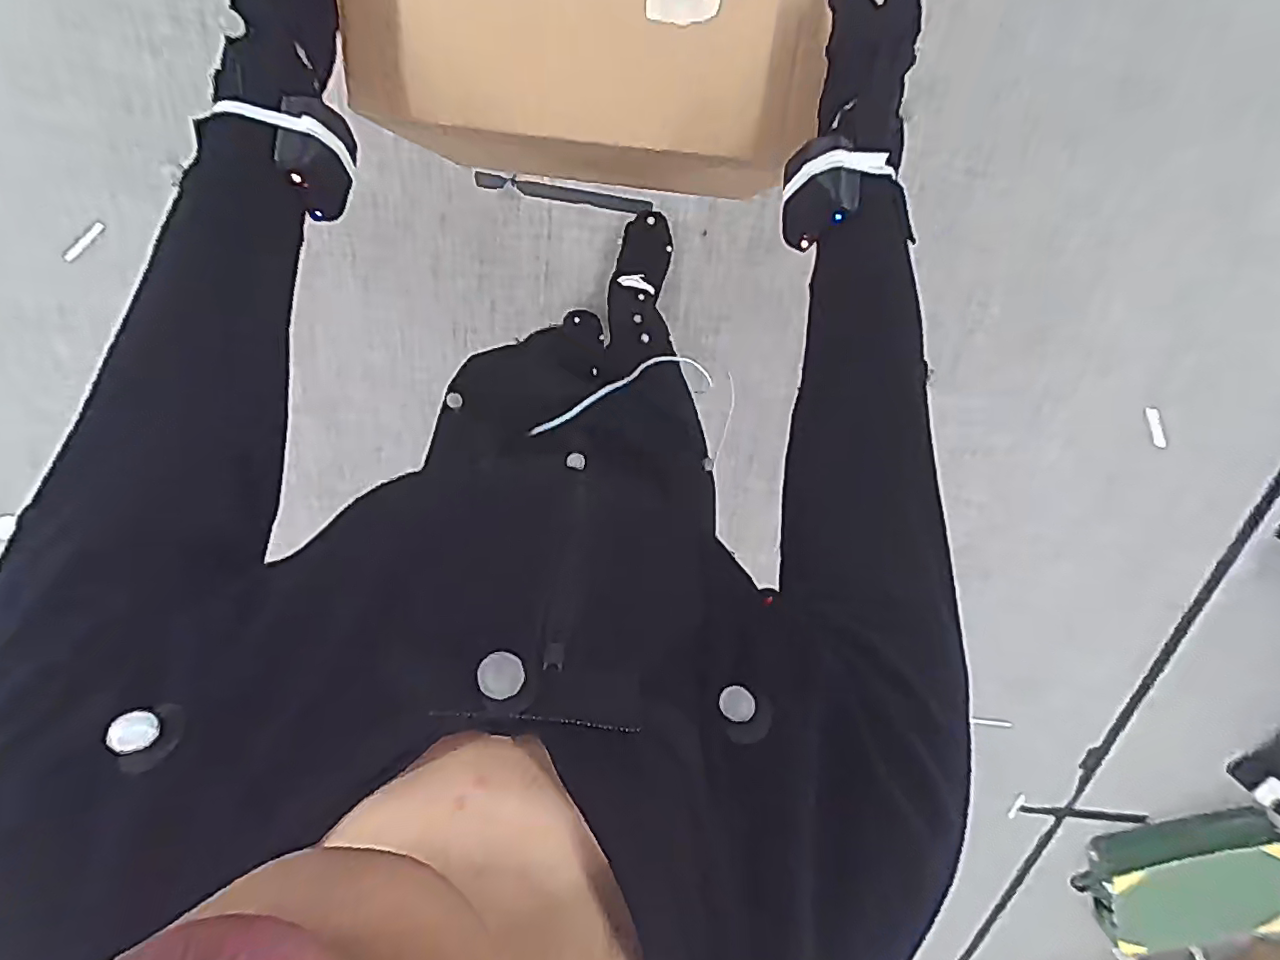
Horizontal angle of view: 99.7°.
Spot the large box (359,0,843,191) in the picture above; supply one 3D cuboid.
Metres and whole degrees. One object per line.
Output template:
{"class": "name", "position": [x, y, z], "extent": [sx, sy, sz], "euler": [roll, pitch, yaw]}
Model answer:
{"class": "large box", "position": [-0.030, -0.505, 0.558], "extent": [0.408, 0.320, 0.320], "euler": [5, 113, -4]}
